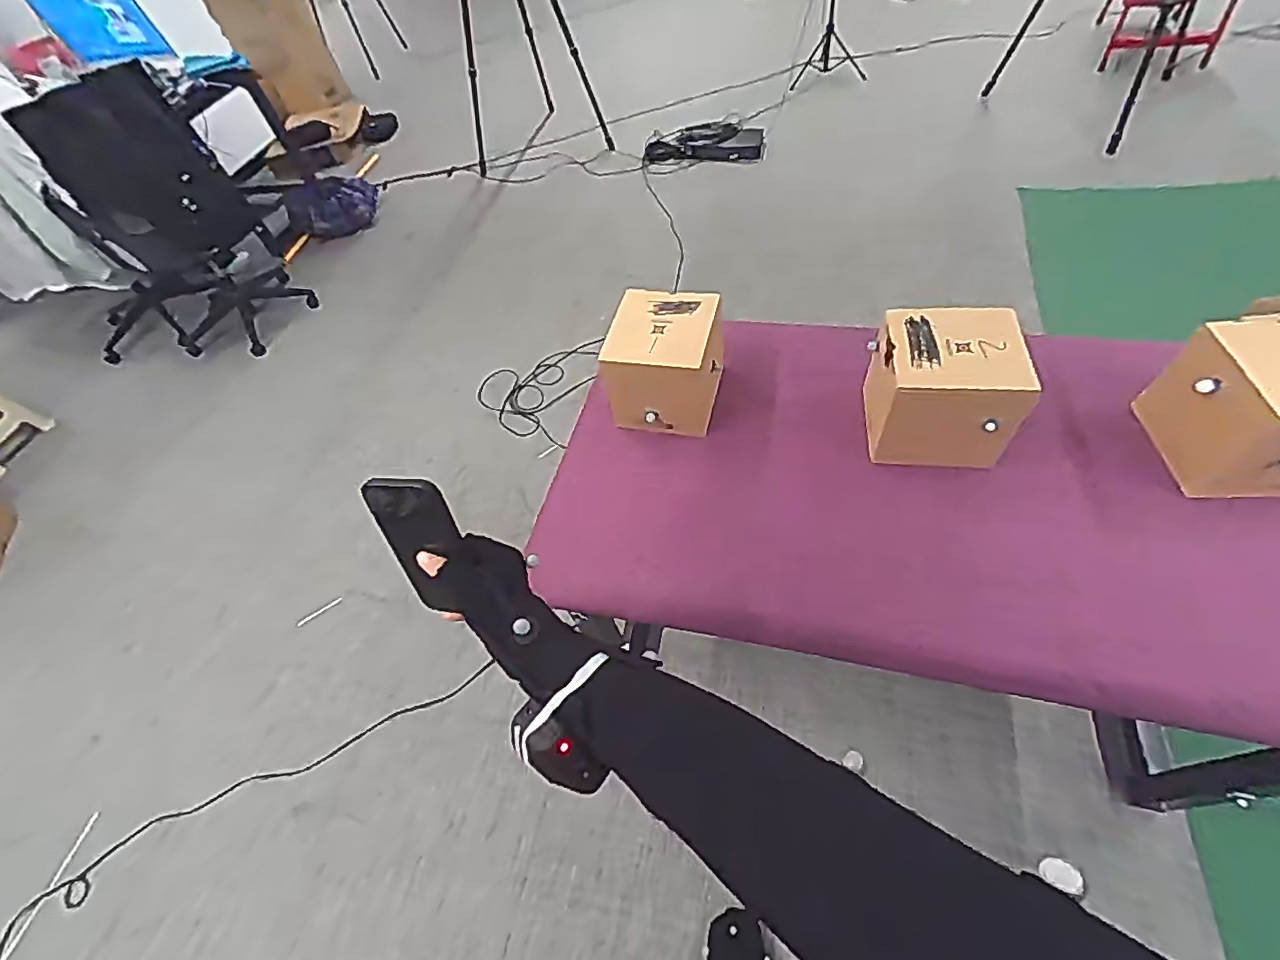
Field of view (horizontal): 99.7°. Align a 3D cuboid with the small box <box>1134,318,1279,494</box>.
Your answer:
[{"bbox_3d":[0.821,-0.091,0.714,0.168,0.176,0.179,-2,54,9],"label":"small box"}]

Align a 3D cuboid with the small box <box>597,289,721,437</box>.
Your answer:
[{"bbox_3d":[0.042,-0.200,0.924,0.168,0.176,0.179,8,59,15],"label":"small box"}]
